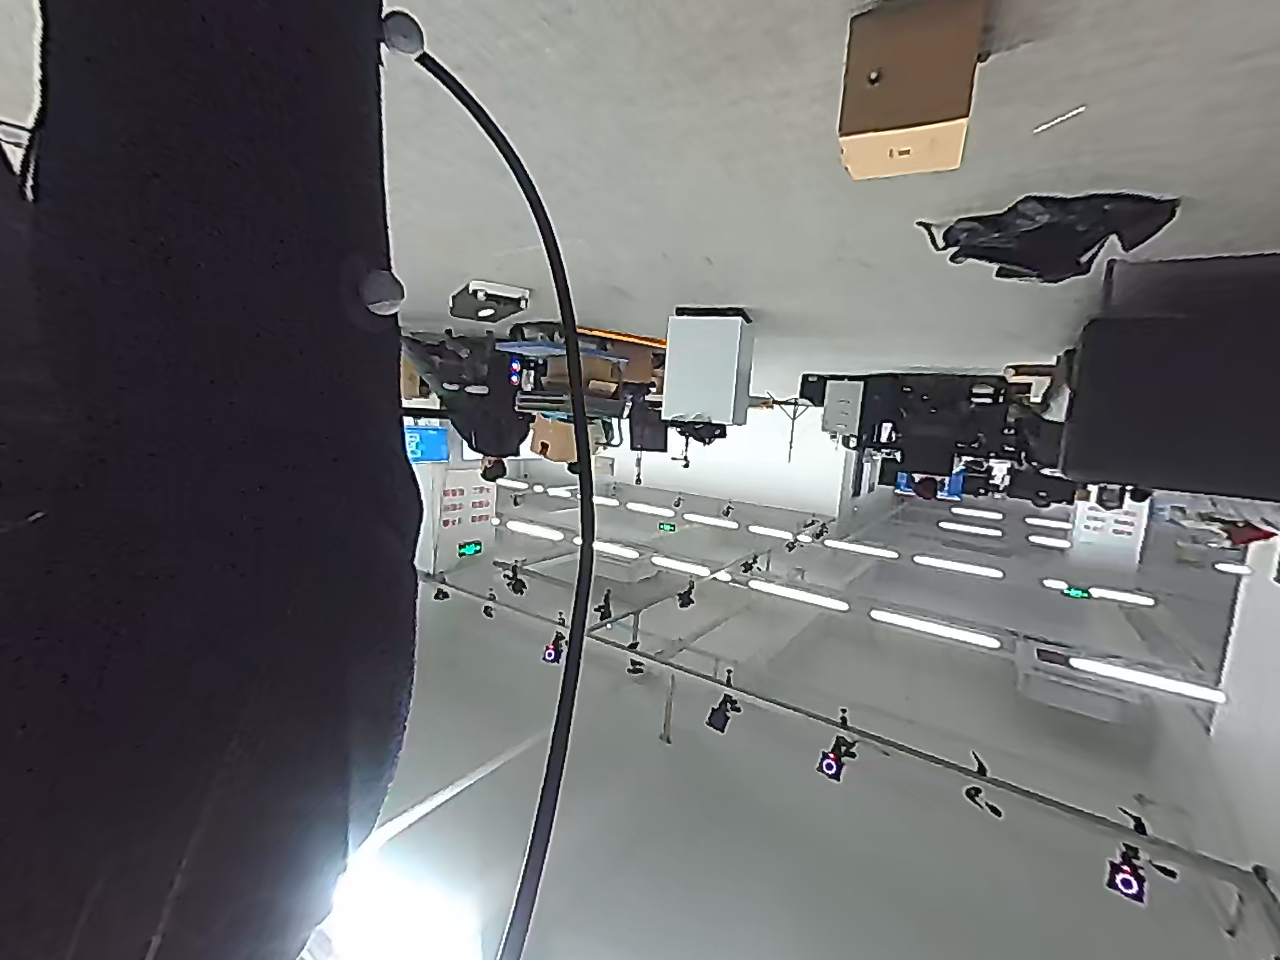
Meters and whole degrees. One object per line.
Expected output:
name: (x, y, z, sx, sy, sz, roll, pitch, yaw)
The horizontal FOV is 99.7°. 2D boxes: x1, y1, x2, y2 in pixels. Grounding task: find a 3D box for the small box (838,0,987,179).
small box: (0.416, -0.596, 0.836, 0.179, 0.176, 0.168, 7, -171, 26)
